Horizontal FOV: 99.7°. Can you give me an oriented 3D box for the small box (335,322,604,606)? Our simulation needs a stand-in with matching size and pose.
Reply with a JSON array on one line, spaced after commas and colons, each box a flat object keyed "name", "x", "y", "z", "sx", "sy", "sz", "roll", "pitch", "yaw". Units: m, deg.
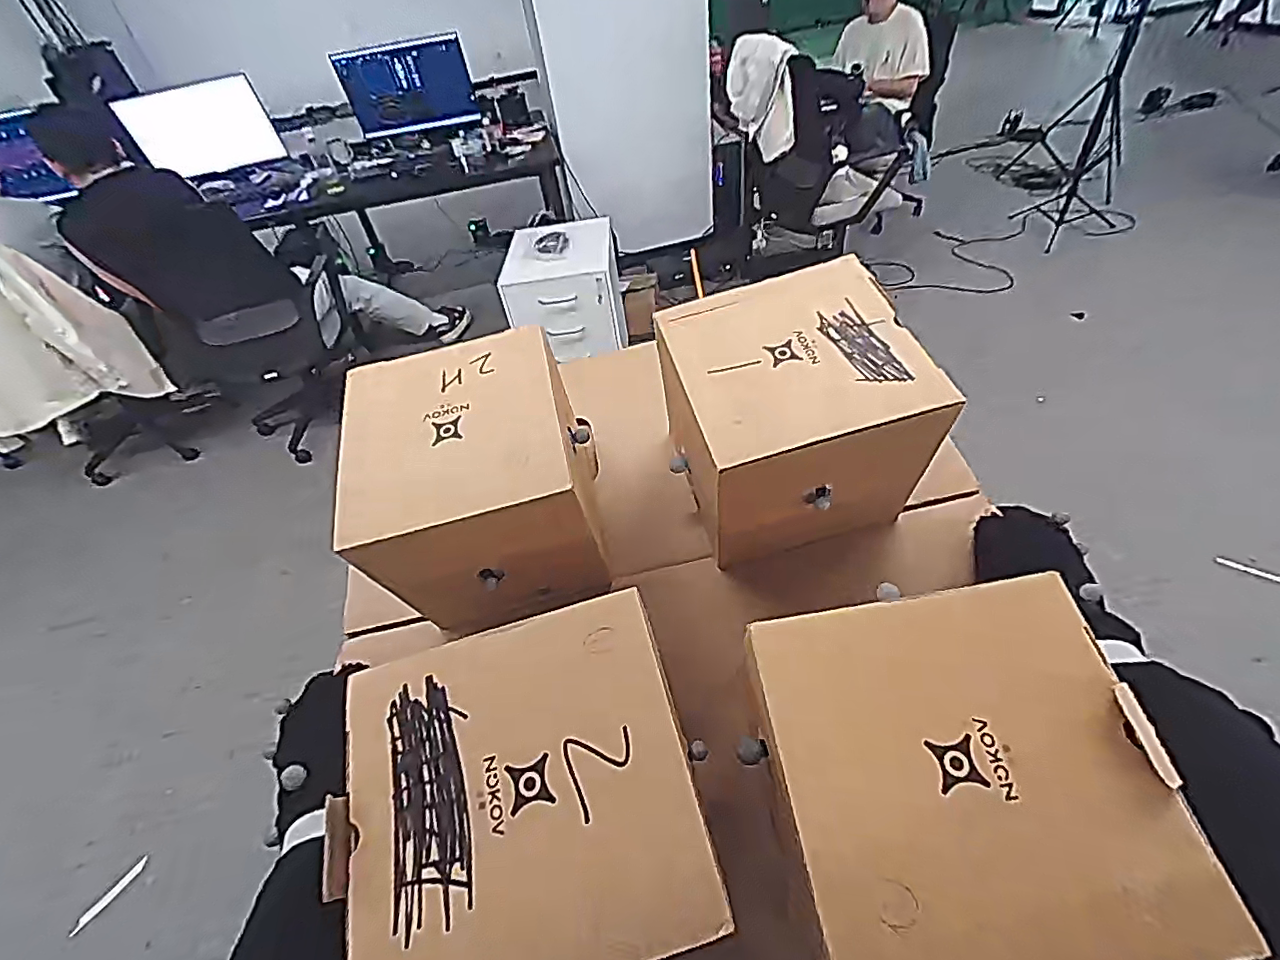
[{"name": "small box", "x": -0.135, "y": -0.002, "z": 0.477, "sx": 0.168, "sy": 0.176, "sz": 0.179, "roll": -13, "pitch": 57, "yaw": -1}]

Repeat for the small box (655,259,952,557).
[{"name": "small box", "x": 0.121, "y": -0.053, "z": 0.471, "sx": 0.179, "sy": 0.176, "sz": 0.168, "roll": -15, "pitch": 58, "yaw": 0}]
